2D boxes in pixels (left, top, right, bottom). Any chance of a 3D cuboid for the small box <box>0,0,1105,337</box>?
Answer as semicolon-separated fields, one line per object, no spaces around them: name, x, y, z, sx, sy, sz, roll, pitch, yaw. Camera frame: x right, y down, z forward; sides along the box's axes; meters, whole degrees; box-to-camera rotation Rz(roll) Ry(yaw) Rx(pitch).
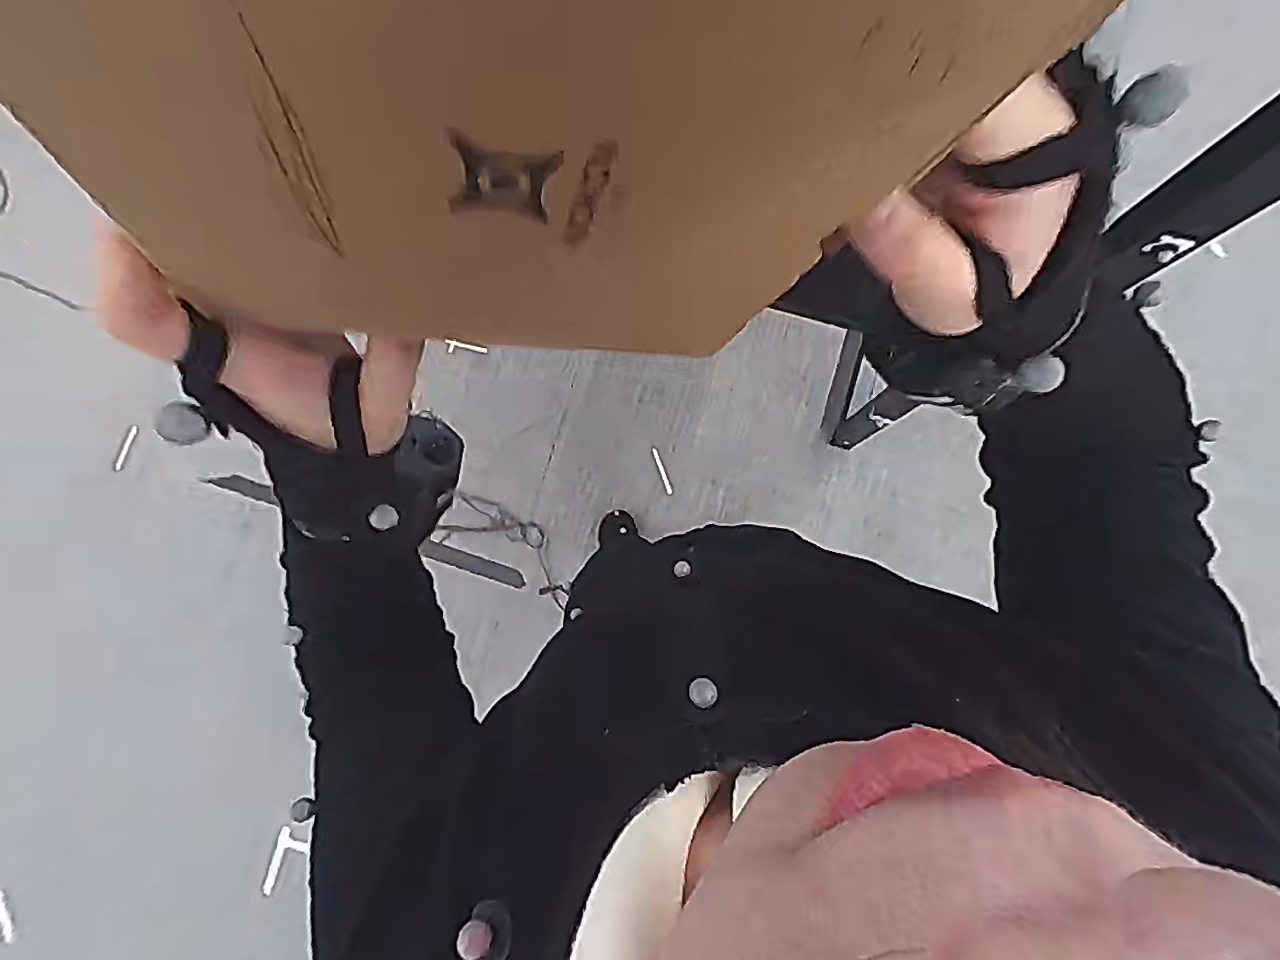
small box;-0.027;-0.150;0.116;0.179;0.168;0.176;1;79;-20
